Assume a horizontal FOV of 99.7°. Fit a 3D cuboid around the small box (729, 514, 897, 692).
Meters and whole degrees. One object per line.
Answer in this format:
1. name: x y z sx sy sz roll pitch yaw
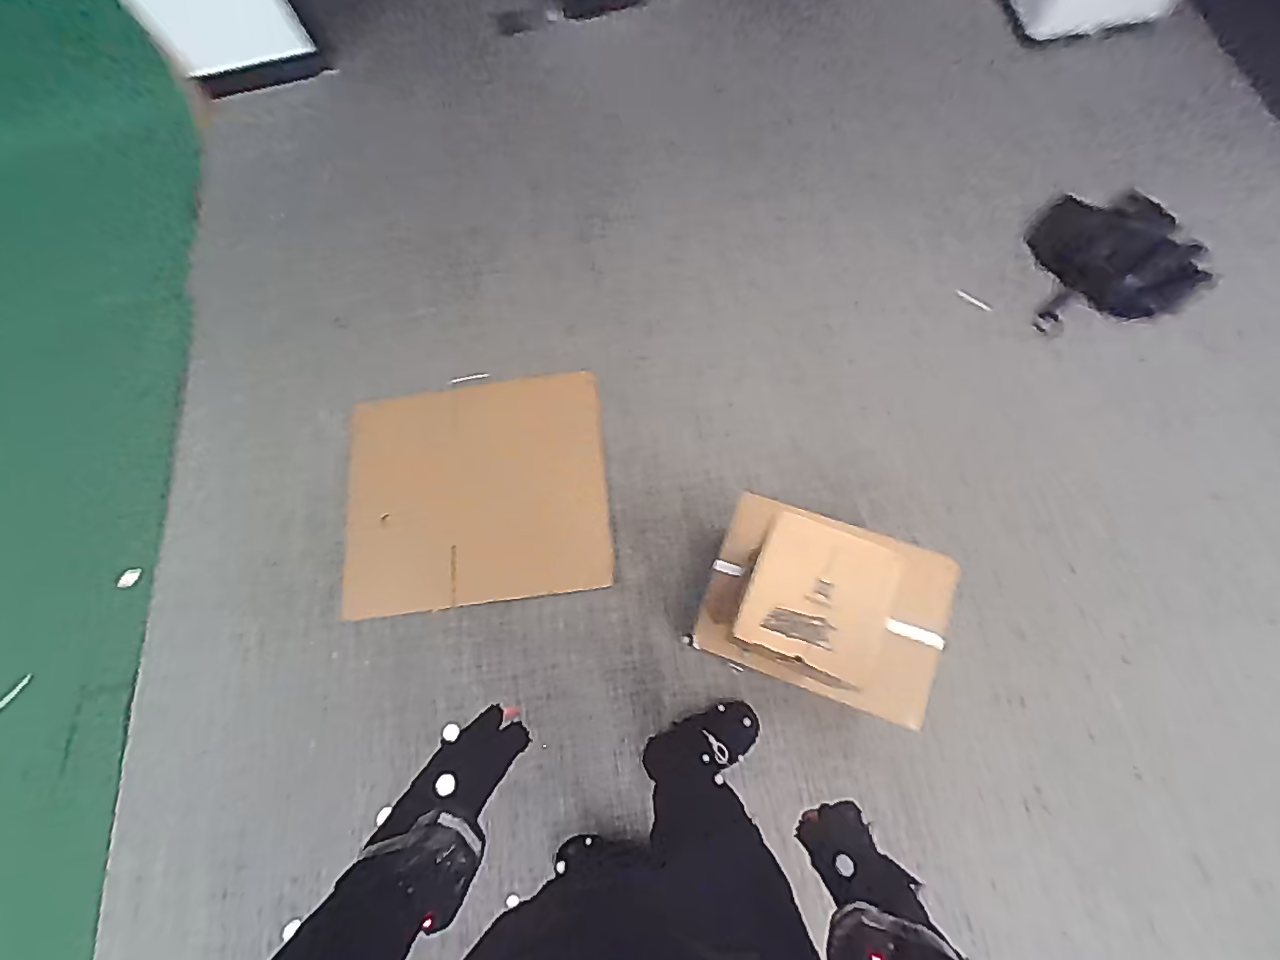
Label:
1. small box: 0.226 0.170 0.744 0.168 0.176 0.179 18 76 12
